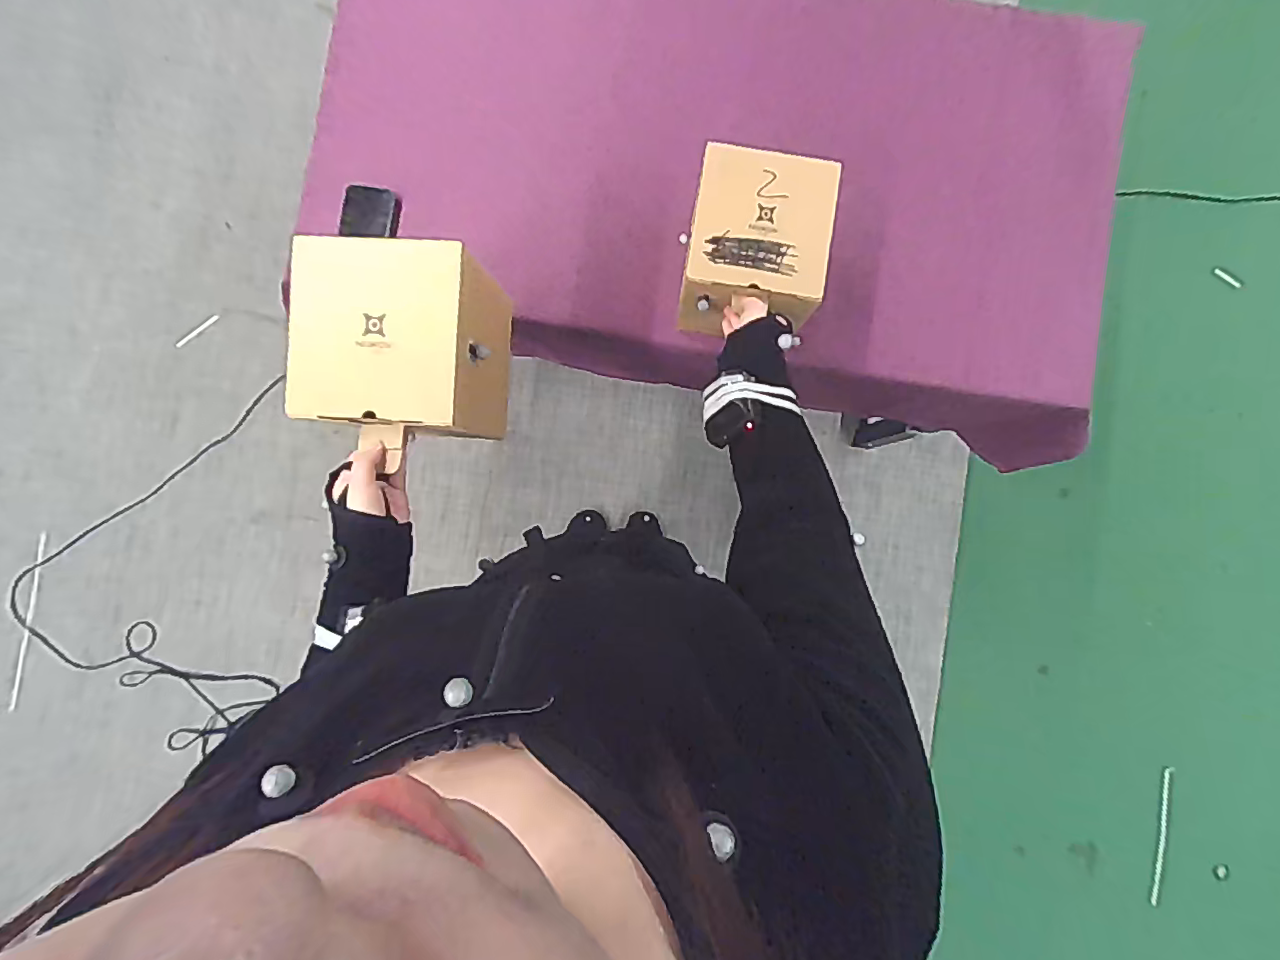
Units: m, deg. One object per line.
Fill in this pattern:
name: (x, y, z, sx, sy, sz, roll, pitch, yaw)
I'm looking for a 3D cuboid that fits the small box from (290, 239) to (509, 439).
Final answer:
small box: (-0.249, -0.143, 0.600, 0.168, 0.176, 0.179, 3, 91, 2)
